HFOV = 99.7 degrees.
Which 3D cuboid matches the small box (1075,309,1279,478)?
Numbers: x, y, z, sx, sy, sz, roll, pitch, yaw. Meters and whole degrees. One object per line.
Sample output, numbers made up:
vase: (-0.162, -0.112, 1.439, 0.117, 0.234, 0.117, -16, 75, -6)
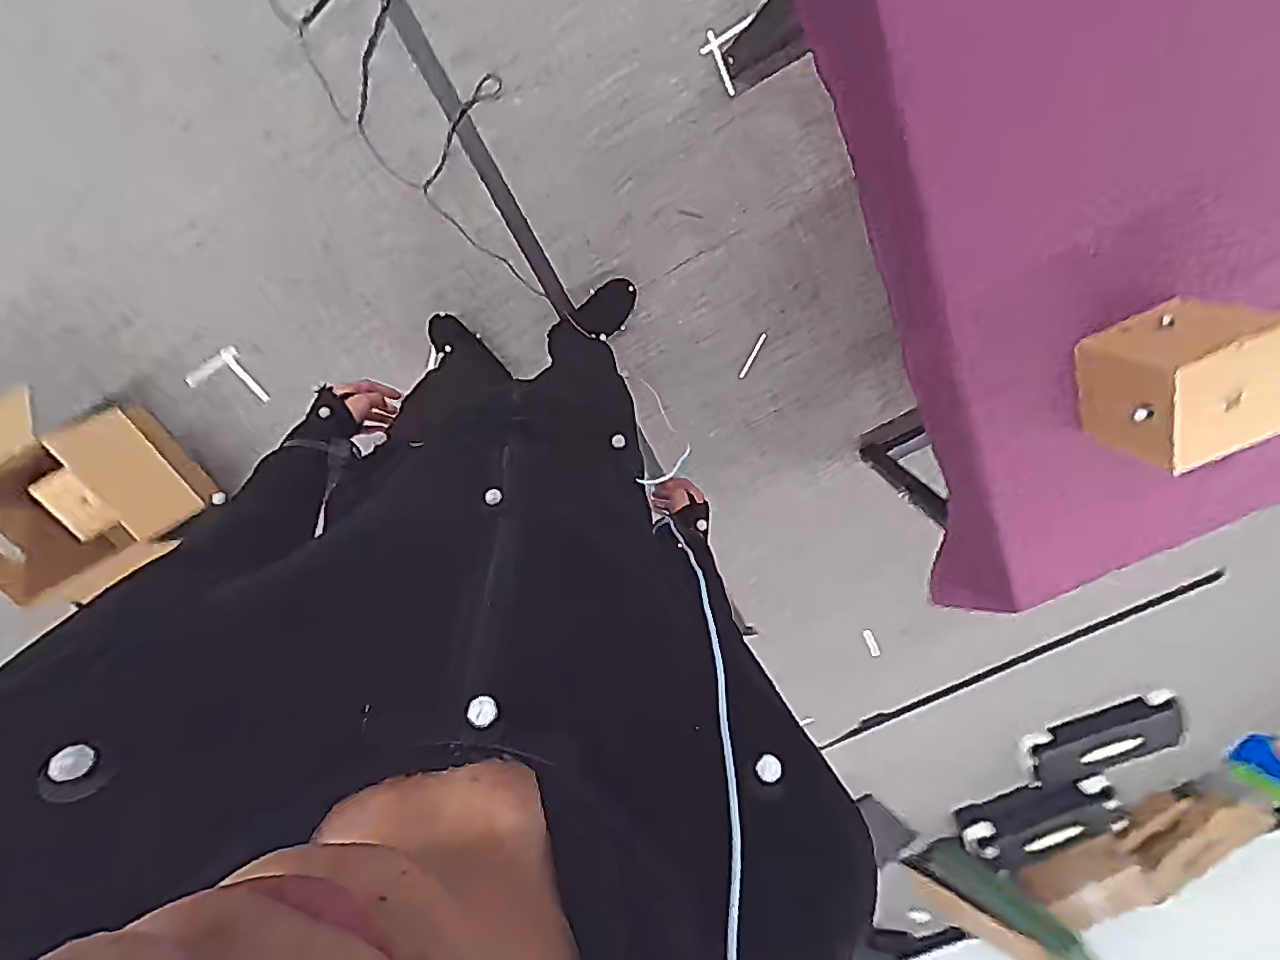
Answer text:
small box: (0.808, -0.137, 0.821, 0.168, 0.176, 0.179, -24, 115, 6)
